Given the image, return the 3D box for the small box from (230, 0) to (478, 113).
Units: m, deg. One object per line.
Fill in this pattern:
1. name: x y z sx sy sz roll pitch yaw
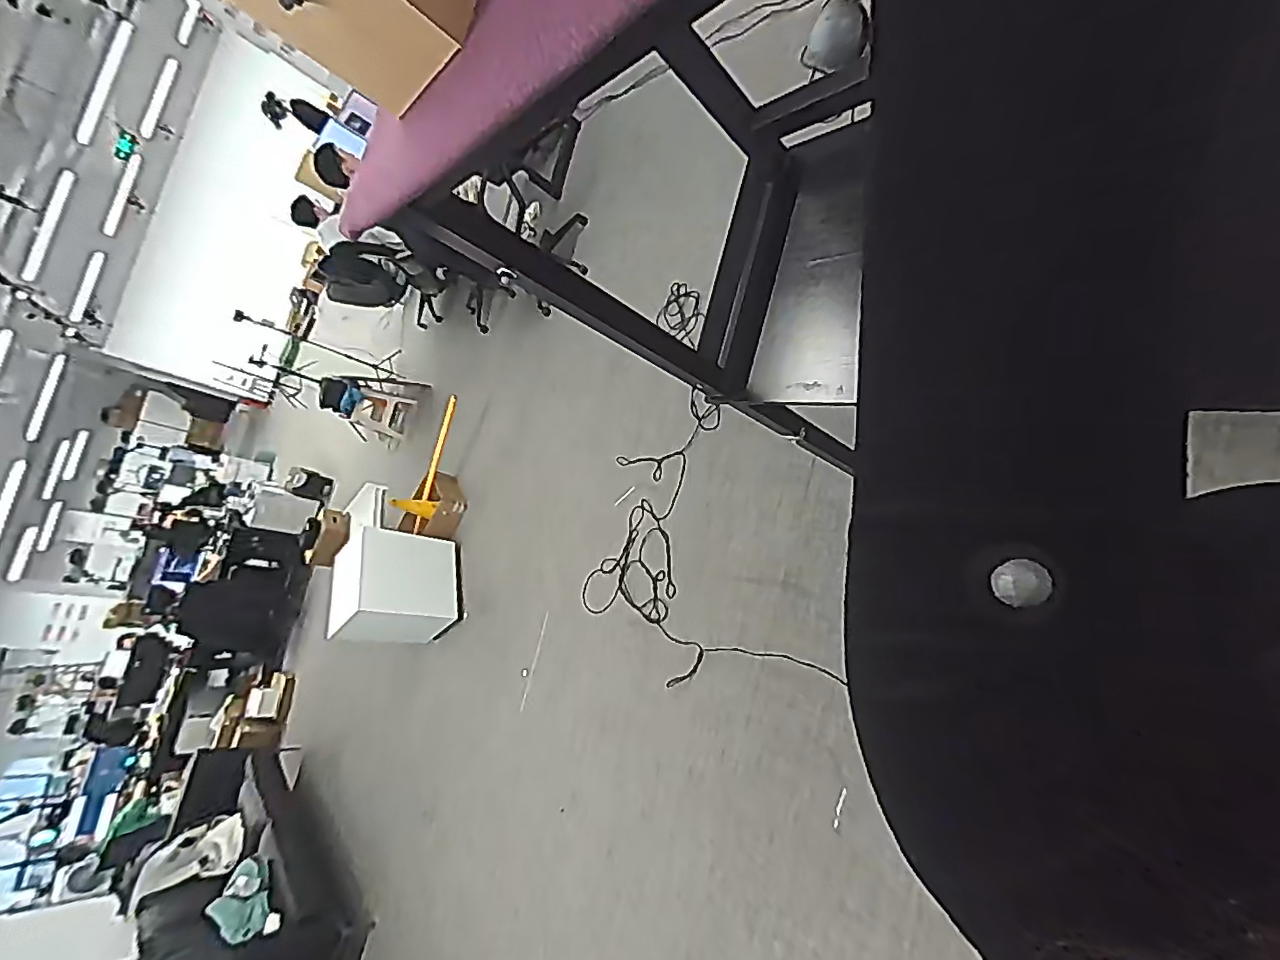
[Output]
1. small box: -0.253 -0.495 0.507 0.179 0.176 0.168 9 83 48
